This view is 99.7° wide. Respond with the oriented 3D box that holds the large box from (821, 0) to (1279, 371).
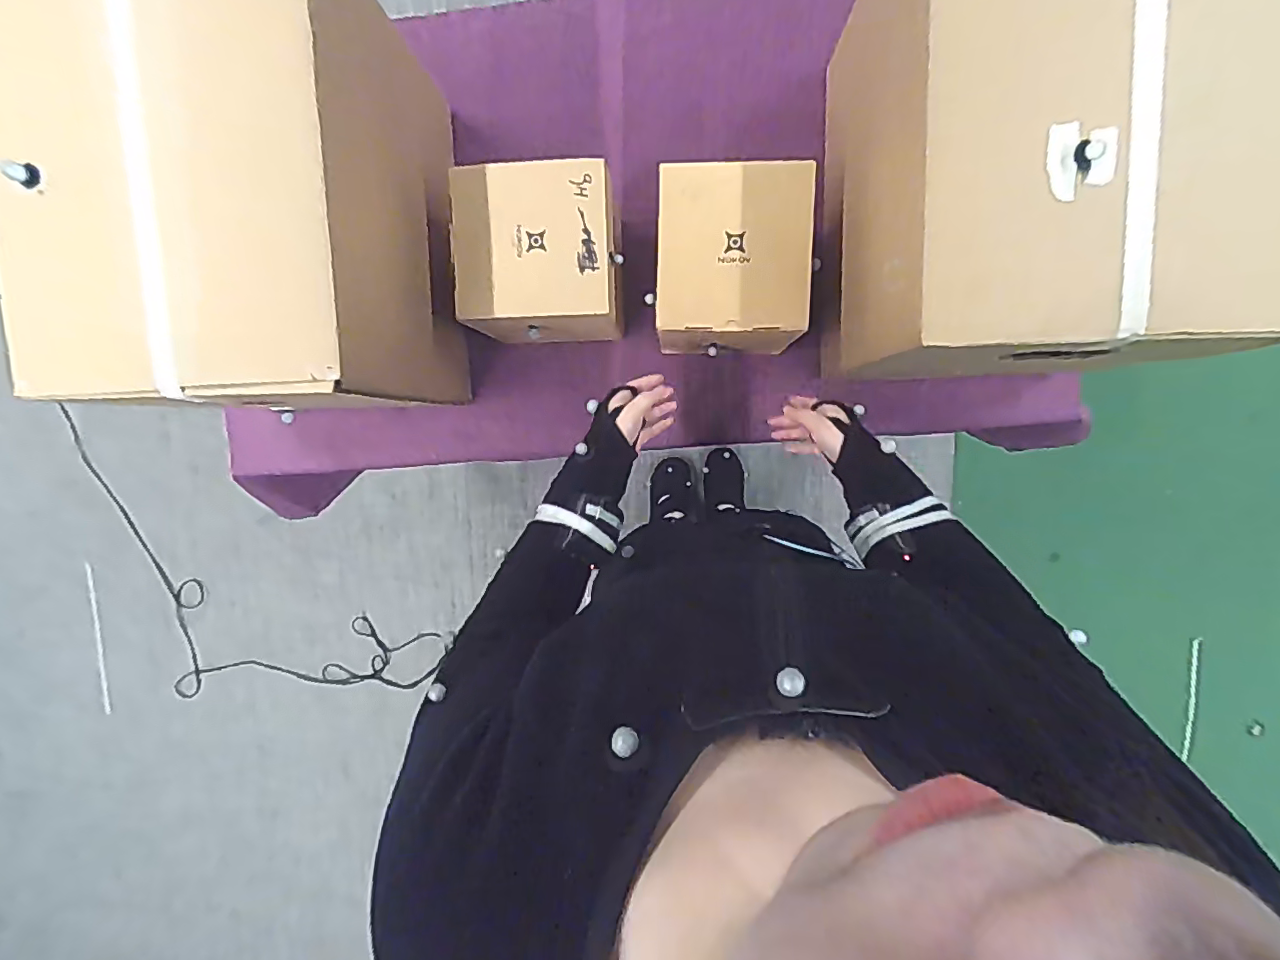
[{"bbox_3d":[0.389,-0.333,0.570,0.320,0.320,0.408,-1,96,3],"label":"large box"}]
